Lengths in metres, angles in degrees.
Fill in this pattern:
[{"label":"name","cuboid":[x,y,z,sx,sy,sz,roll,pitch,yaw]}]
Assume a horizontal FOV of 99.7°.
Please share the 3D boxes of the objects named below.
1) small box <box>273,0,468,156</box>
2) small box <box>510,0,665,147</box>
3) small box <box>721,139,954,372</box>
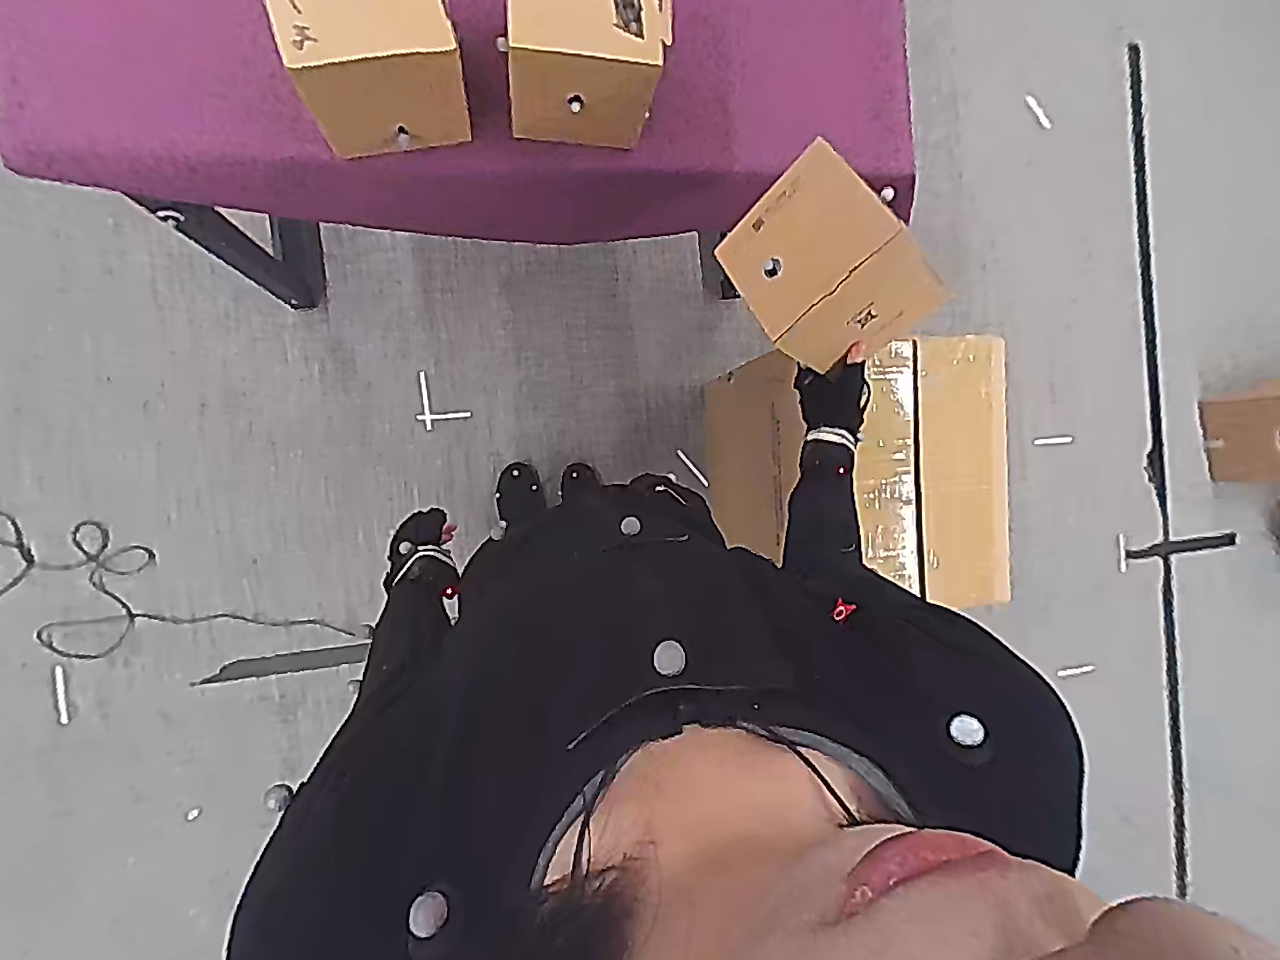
[{"label":"small box","cuboid":[-0.310,-0.518,0.638,0.179,0.176,0.168,-16,93,-12]},{"label":"small box","cuboid":[-0.073,-0.557,0.686,0.179,0.176,0.168,-1,90,-11]},{"label":"small box","cuboid":[0.227,-0.261,0.643,0.179,0.168,0.176,8,51,-46]}]
